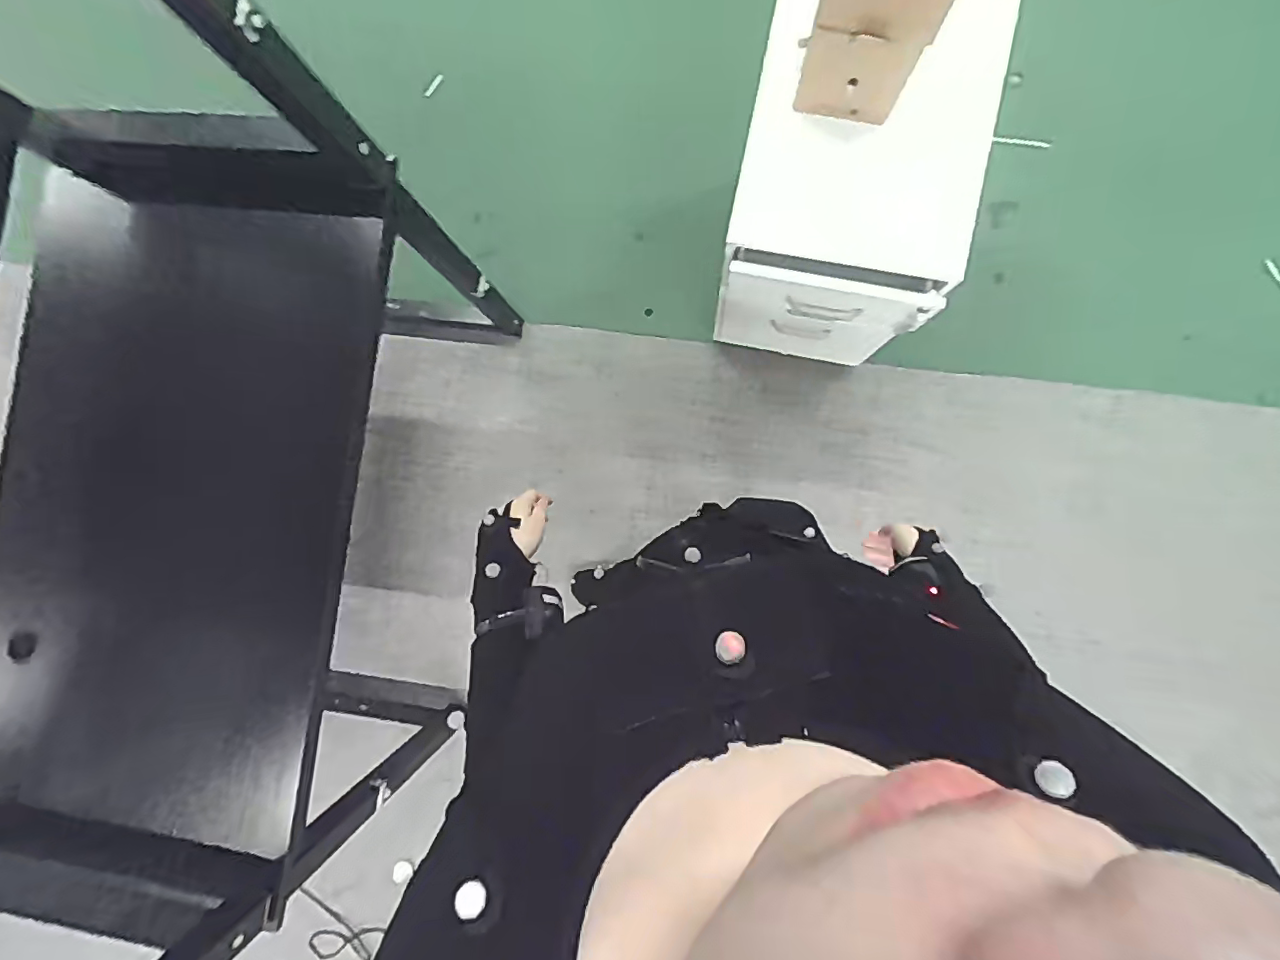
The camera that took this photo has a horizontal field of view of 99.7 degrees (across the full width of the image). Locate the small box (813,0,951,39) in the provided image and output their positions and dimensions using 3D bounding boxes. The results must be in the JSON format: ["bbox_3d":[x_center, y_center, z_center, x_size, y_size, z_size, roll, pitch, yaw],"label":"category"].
[{"bbox_3d":[0.334,-0.706,0.676,0.179,0.176,0.168,15,89,5],"label":"small box"}]

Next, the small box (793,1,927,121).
[{"bbox_3d":[0.345,-0.702,0.839,0.168,0.176,0.179,13,89,5],"label":"small box"}]
